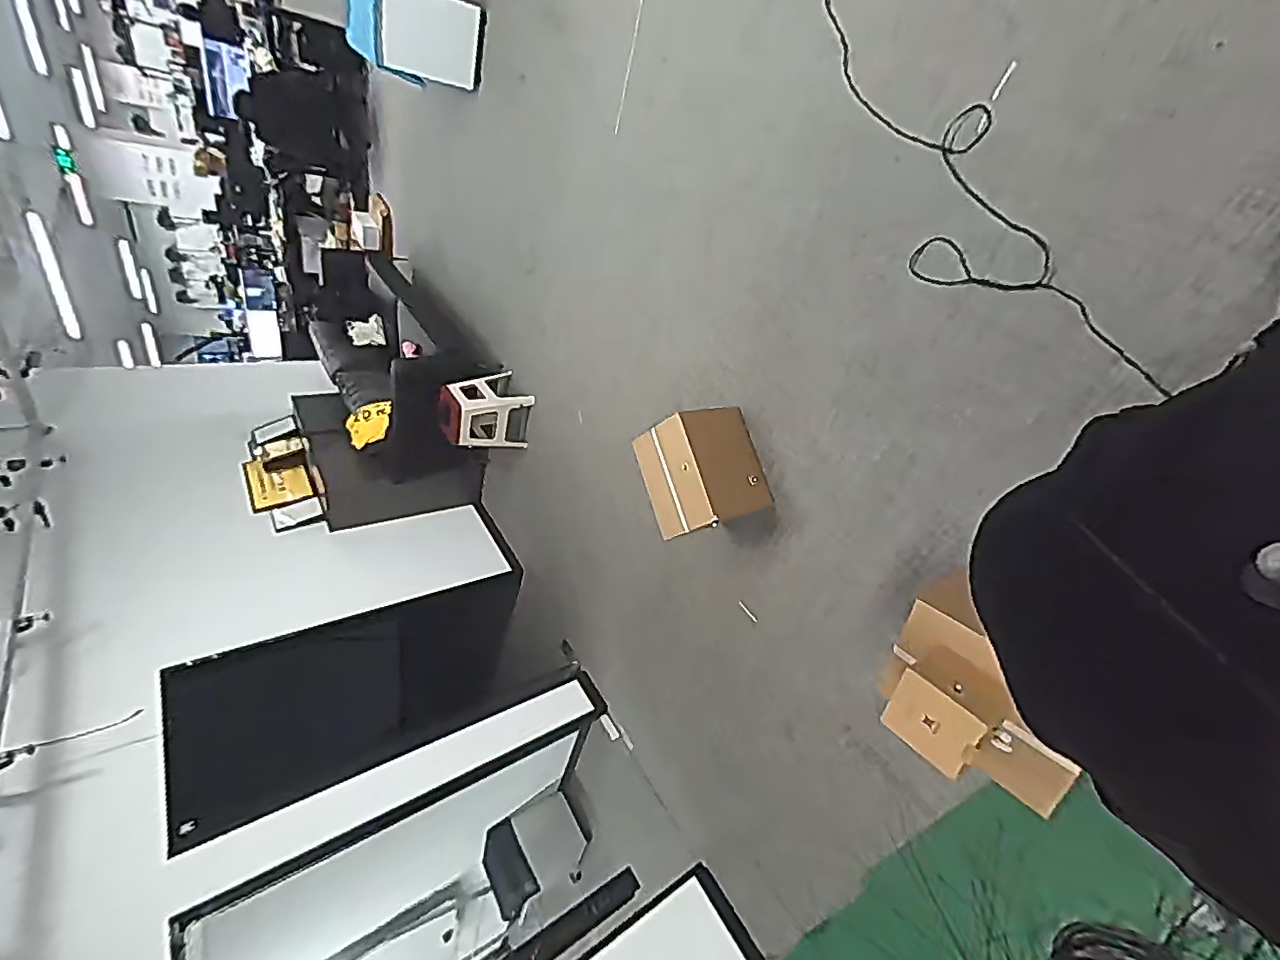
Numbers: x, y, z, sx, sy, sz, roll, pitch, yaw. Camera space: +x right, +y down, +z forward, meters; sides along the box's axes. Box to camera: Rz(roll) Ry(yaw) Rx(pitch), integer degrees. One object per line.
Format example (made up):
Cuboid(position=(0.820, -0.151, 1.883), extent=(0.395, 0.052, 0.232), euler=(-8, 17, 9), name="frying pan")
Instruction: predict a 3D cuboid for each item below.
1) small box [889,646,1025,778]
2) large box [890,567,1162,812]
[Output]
Cuboid(position=(0.689, 0.492, 1.176), extent=(0.179, 0.176, 0.168), euler=(38, 126, 43), name="small box")
Cuboid(position=(0.902, 0.464, 1.300), extent=(0.408, 0.320, 0.320), euler=(33, 126, 44), name="large box")
